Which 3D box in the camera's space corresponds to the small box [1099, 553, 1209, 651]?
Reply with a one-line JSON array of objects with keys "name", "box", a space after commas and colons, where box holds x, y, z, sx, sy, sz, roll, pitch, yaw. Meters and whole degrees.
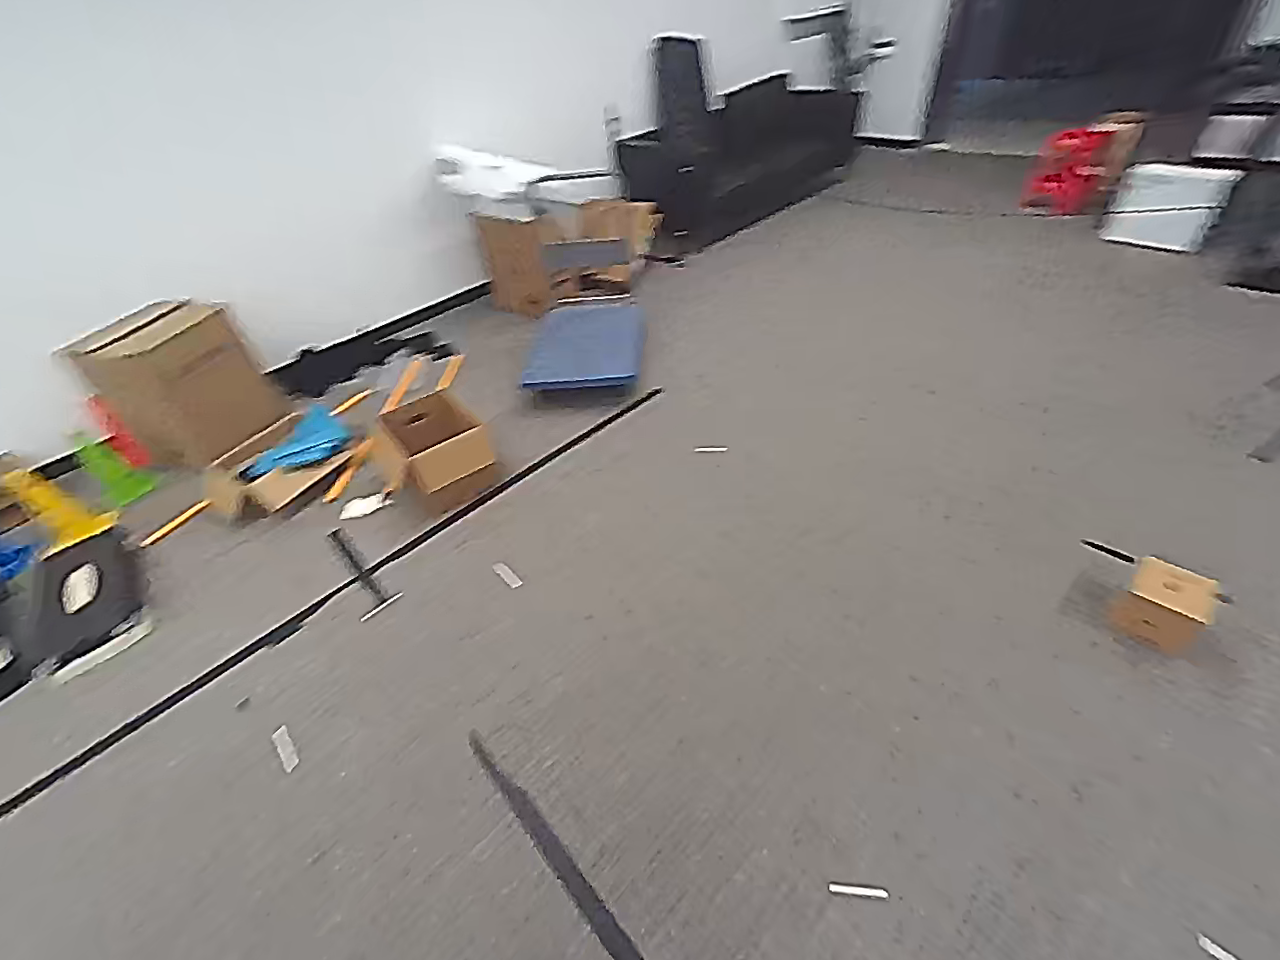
[{"name": "small box", "box": [1.457, 0.349, 1.541, 0.168, 0.176, 0.179, 29, 53, 34]}]
